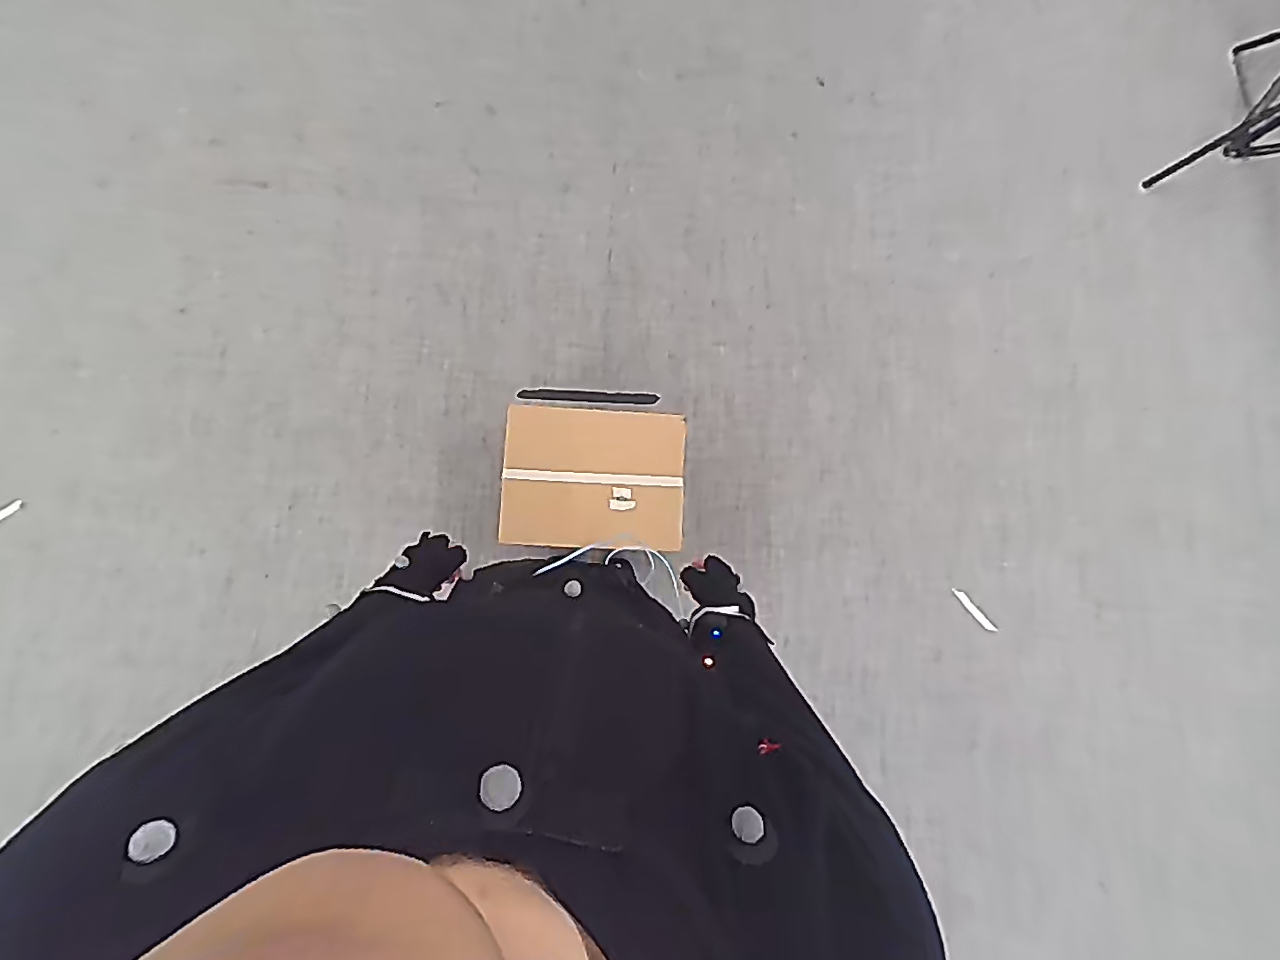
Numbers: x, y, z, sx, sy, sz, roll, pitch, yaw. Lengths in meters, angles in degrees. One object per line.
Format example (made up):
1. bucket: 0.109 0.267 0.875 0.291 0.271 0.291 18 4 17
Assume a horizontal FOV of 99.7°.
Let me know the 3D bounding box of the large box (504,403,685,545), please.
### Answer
1. large box: -0.111 0.002 1.368 0.408 0.320 0.320 3 84 -4
